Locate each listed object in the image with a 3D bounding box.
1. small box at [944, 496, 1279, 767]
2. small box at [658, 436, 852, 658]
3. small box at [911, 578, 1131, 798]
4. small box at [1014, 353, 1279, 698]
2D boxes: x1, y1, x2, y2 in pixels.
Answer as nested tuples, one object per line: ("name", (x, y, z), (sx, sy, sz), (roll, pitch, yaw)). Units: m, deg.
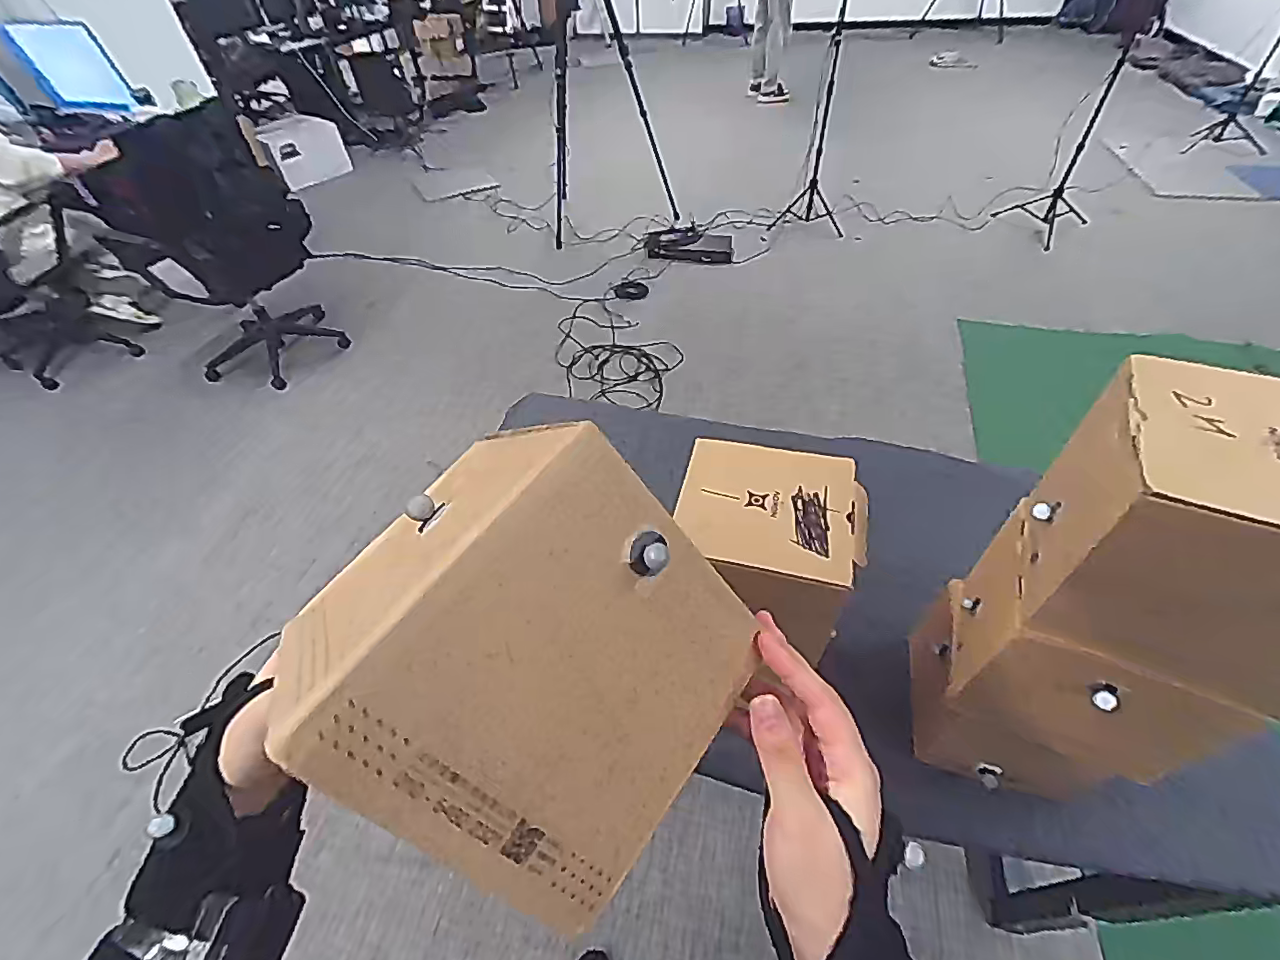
("small box", (0.426, 0.149, 0.523), (0.179, 0.176, 0.168), (18, 51, 21))
("small box", (0.126, 0.078, 0.606), (0.179, 0.176, 0.168), (10, 48, 13))
("small box", (0.438, 0.249, 0.651), (0.168, 0.176, 0.179), (9, 49, 13))
("small box", (0.420, 0.035, 0.404), (0.179, 0.176, 0.168), (19, 51, 22))
